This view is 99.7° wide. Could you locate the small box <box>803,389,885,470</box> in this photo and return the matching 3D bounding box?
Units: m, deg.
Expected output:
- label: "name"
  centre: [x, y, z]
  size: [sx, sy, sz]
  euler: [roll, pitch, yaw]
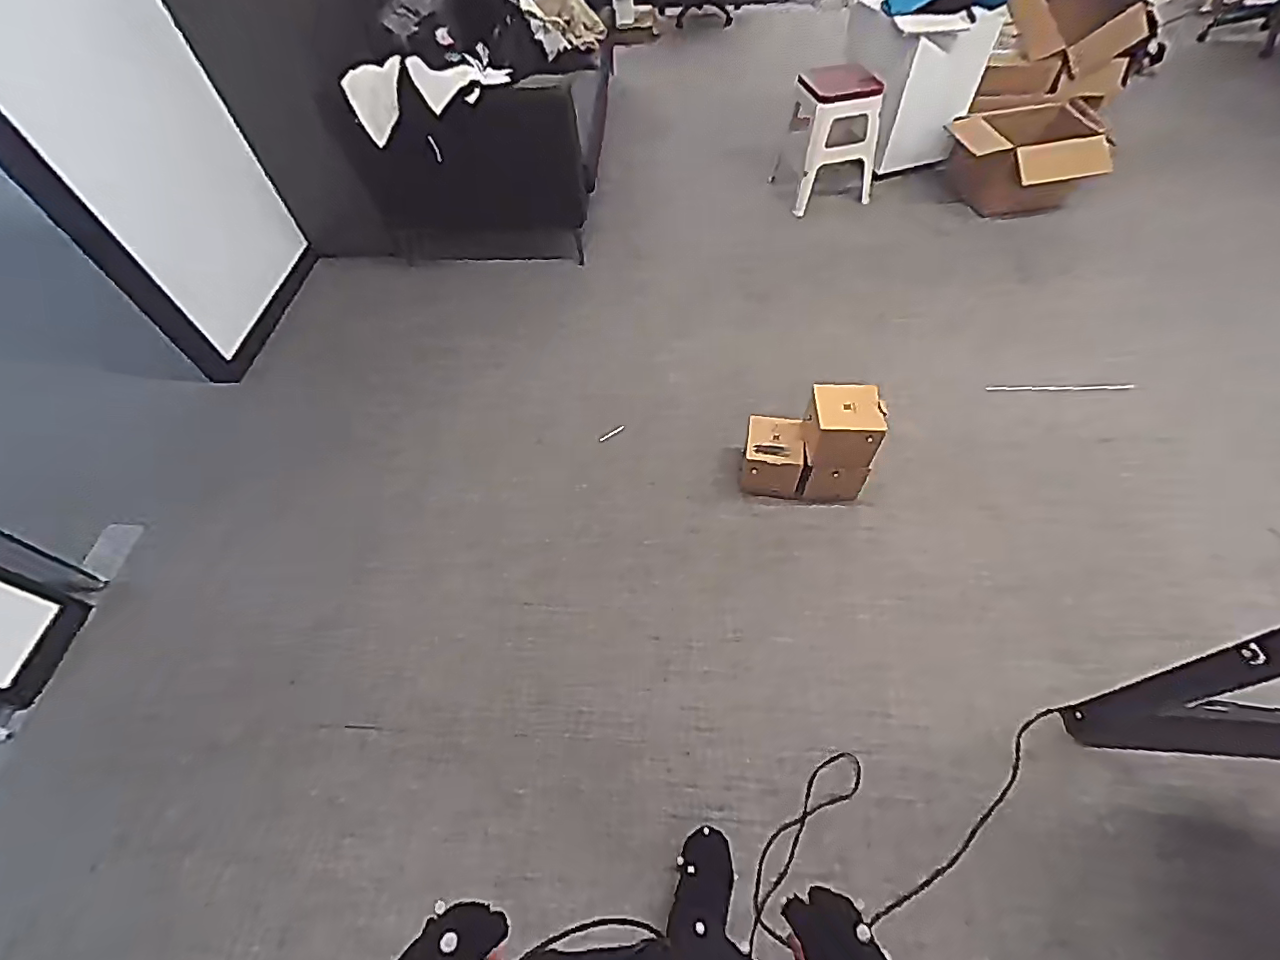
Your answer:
- label: "small box"
  centre: [0.566, -0.140, 1.530]
  size: [0.179, 0.176, 0.168]
  euler: [1, 55, 4]
